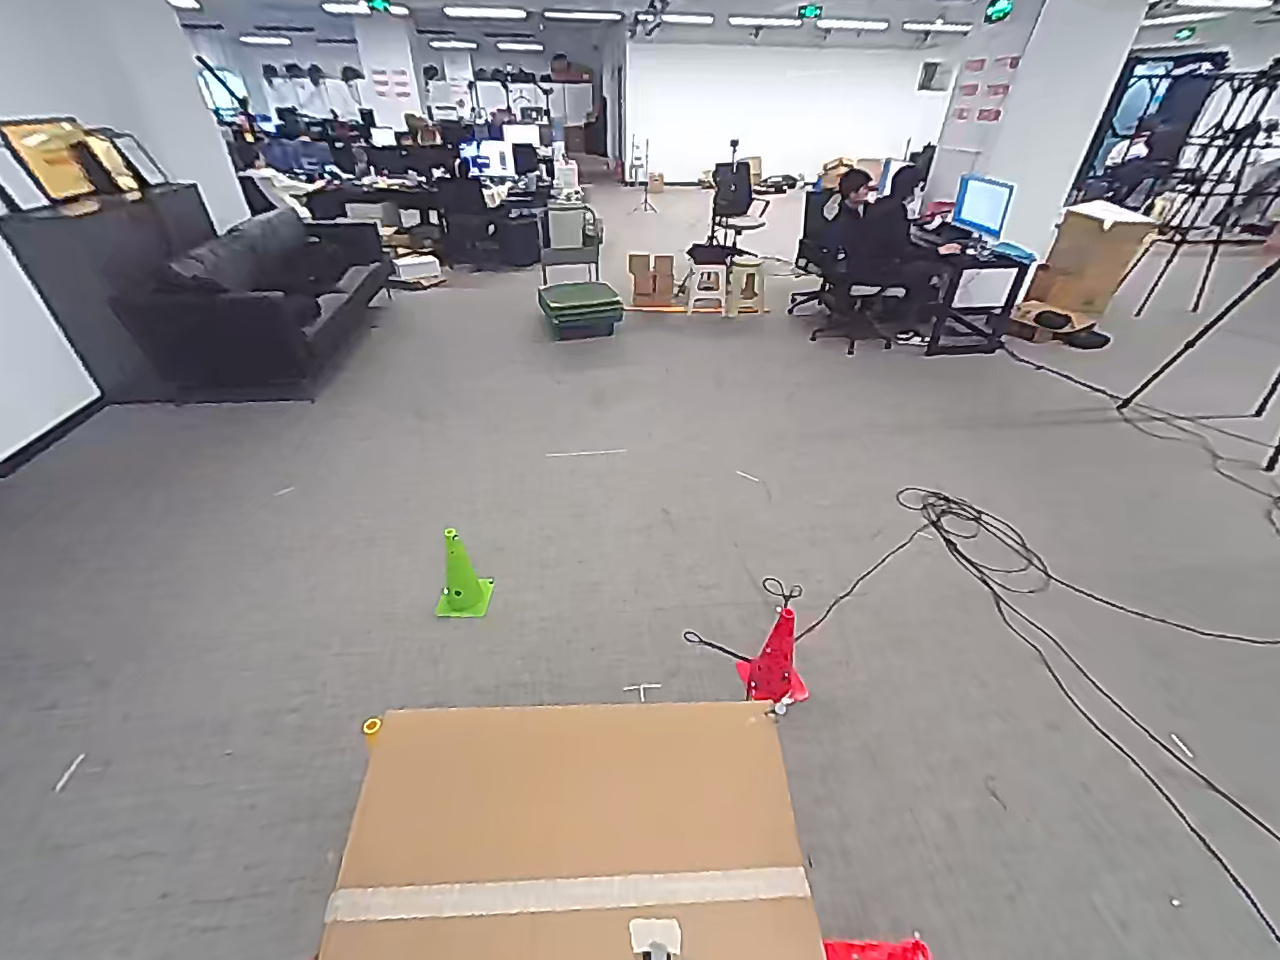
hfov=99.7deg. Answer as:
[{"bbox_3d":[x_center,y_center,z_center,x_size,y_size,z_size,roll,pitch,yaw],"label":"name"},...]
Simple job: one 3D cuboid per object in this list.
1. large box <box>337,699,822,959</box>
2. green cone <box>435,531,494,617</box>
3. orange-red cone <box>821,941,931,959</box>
[{"bbox_3d":[-0.058,0.454,0.585,0.408,0.320,0.320,0,49,-4],"label":"large box"},{"bbox_3d":[-0.709,0.339,2.097,0.200,0.368,0.202,0,37,0],"label":"green cone"},{"bbox_3d":[0.532,1.045,1.132,0.199,0.360,0.198,3,36,0],"label":"orange-red cone"}]
